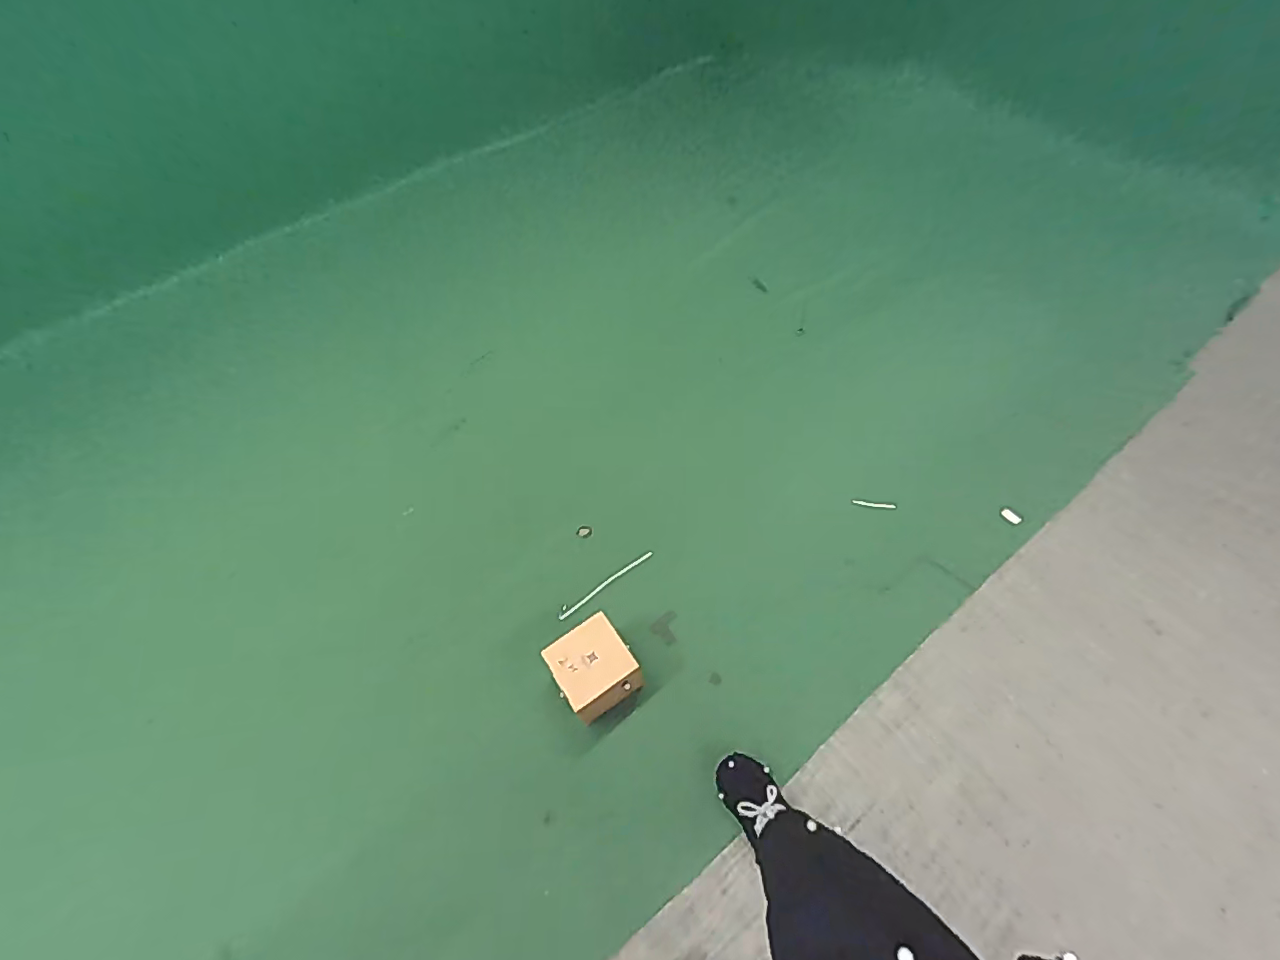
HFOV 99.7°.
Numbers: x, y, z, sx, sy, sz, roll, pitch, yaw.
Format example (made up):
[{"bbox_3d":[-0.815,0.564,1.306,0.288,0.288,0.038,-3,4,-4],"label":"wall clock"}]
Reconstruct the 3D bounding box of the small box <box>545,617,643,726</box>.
[{"bbox_3d":[-0.104,0.470,1.320,0.179,0.176,0.168,-32,59,-14],"label":"small box"}]
